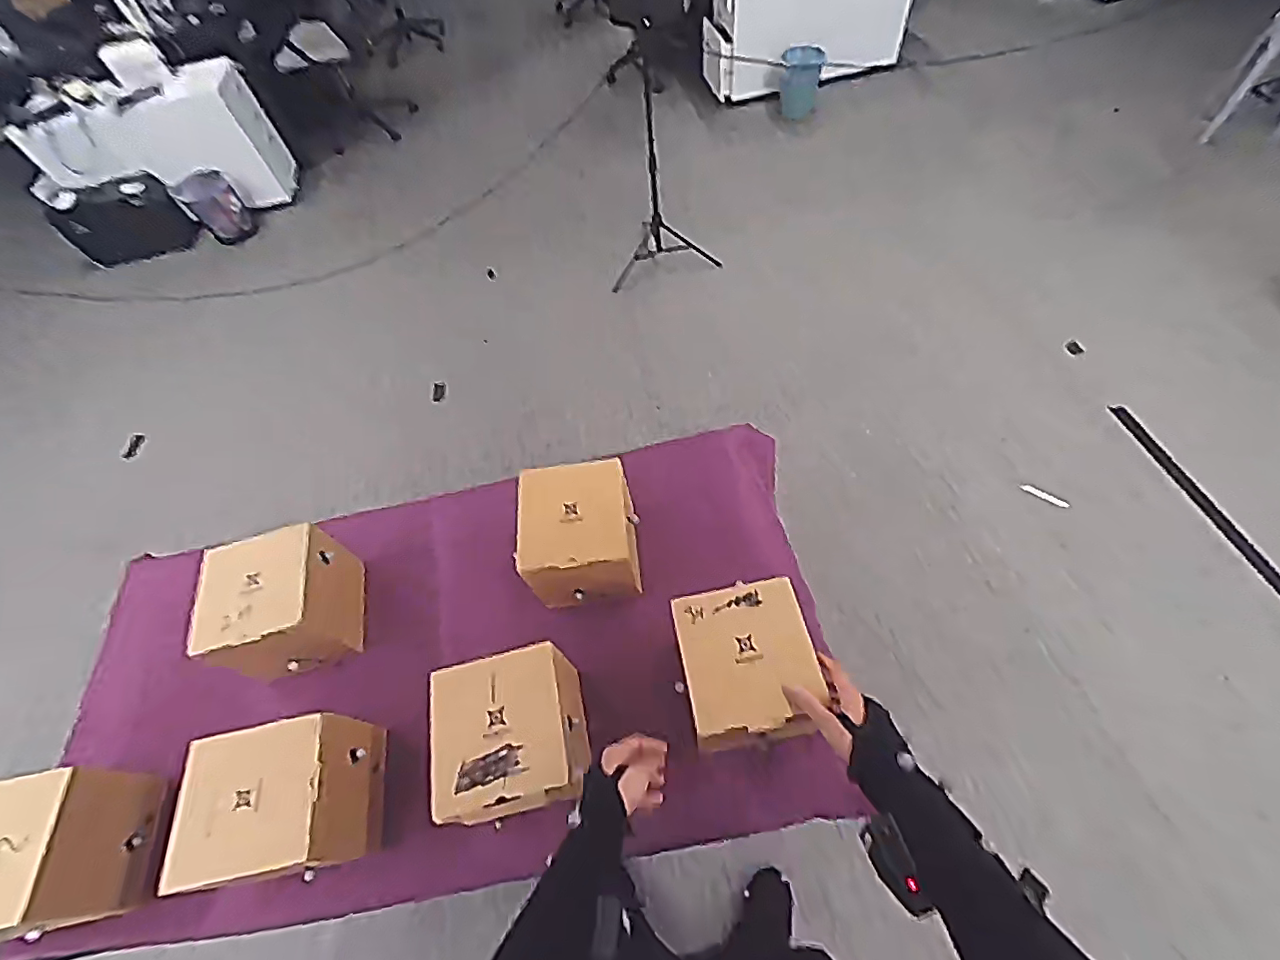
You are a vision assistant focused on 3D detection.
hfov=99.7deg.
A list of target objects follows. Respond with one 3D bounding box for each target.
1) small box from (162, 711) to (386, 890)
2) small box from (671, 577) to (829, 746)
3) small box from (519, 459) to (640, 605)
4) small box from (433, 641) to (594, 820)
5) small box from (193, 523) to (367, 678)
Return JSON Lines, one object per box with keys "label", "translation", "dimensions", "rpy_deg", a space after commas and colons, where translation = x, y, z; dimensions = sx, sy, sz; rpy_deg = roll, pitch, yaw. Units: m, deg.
{"label": "small box", "translation": [-0.466, 0.425, 0.725], "dimensions": [0.179, 0.176, 0.168], "rpy_deg": [-12, 56, -1]}
{"label": "small box", "translation": [0.144, 0.259, 0.749], "dimensions": [0.168, 0.176, 0.179], "rpy_deg": [-11, 56, 1]}
{"label": "small box", "translation": [-0.094, 0.091, 0.894], "dimensions": [0.168, 0.176, 0.179], "rpy_deg": [-8, 58, 3]}
{"label": "small box", "translation": [-0.167, 0.345, 0.737], "dimensions": [0.168, 0.176, 0.179], "rpy_deg": [-14, 56, -2]}
{"label": "small box", "translation": [-0.570, 0.200, 0.885], "dimensions": [0.168, 0.176, 0.179], "rpy_deg": [-16, 57, -3]}
